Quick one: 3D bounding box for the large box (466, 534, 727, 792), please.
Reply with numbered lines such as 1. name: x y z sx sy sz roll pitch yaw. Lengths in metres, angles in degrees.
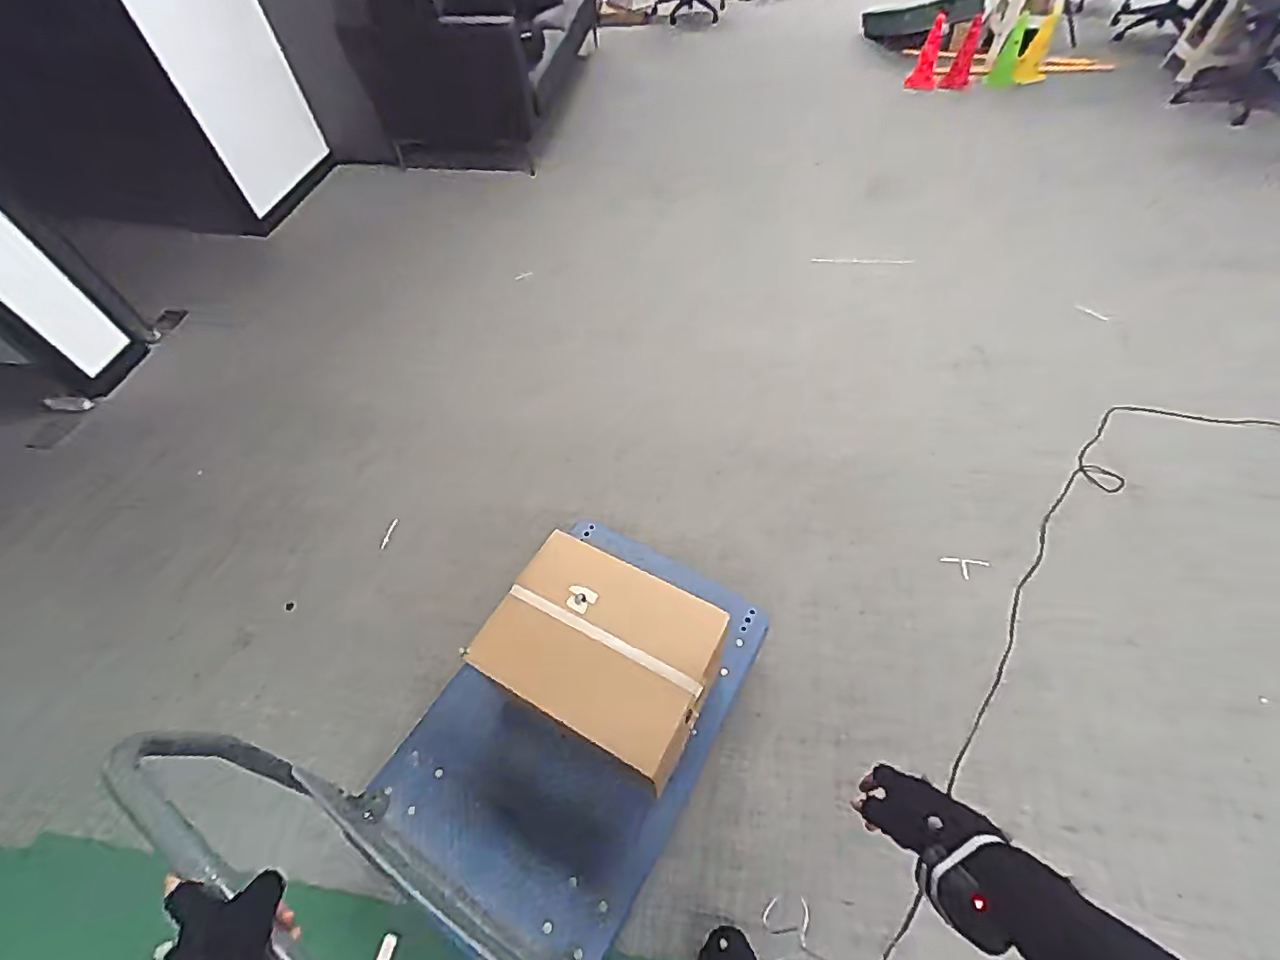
1. large box: -0.065 0.378 1.123 0.408 0.320 0.320 22 58 20
